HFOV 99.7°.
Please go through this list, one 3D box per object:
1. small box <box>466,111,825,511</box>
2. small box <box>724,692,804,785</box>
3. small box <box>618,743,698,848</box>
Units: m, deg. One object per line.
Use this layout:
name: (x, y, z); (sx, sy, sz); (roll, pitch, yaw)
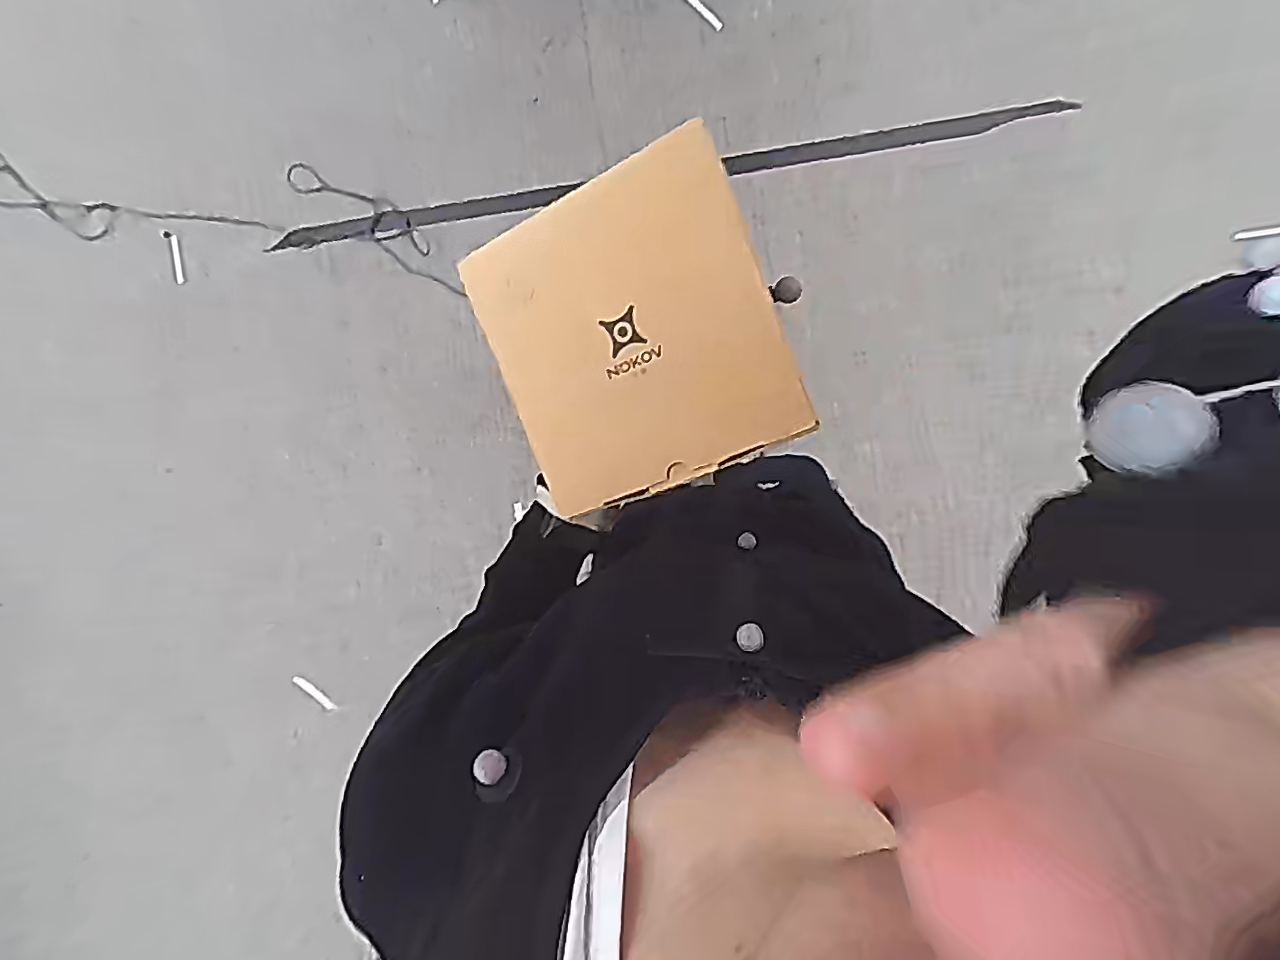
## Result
small box: (0.018, -0.100, 0.384); (0.168, 0.176, 0.179); (-21, 95, 20)
small box: (0.319, 0.667, 1.413); (0.179, 0.176, 0.168); (0, 92, 2)
small box: (0.052, 0.833, 1.442); (0.179, 0.176, 0.168); (-14, 93, 5)
